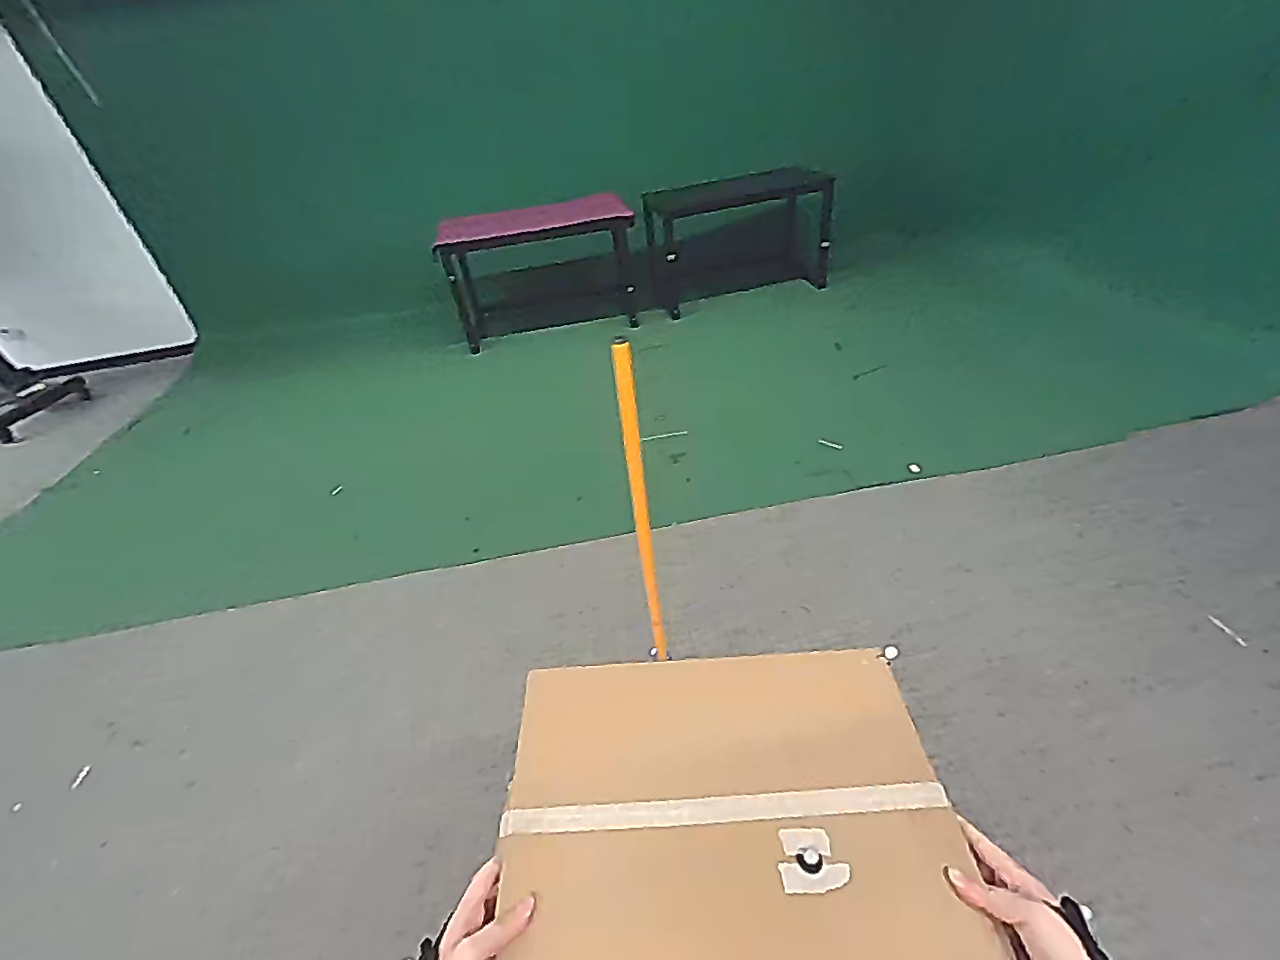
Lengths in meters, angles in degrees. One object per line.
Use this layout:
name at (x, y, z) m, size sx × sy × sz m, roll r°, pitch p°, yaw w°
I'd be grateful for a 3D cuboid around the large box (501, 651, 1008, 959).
large box at (0.086, 0.422, 0.604) m, size 0.408 × 0.320 × 0.320 m, roll -3°, pitch 40°, yaw 0°
